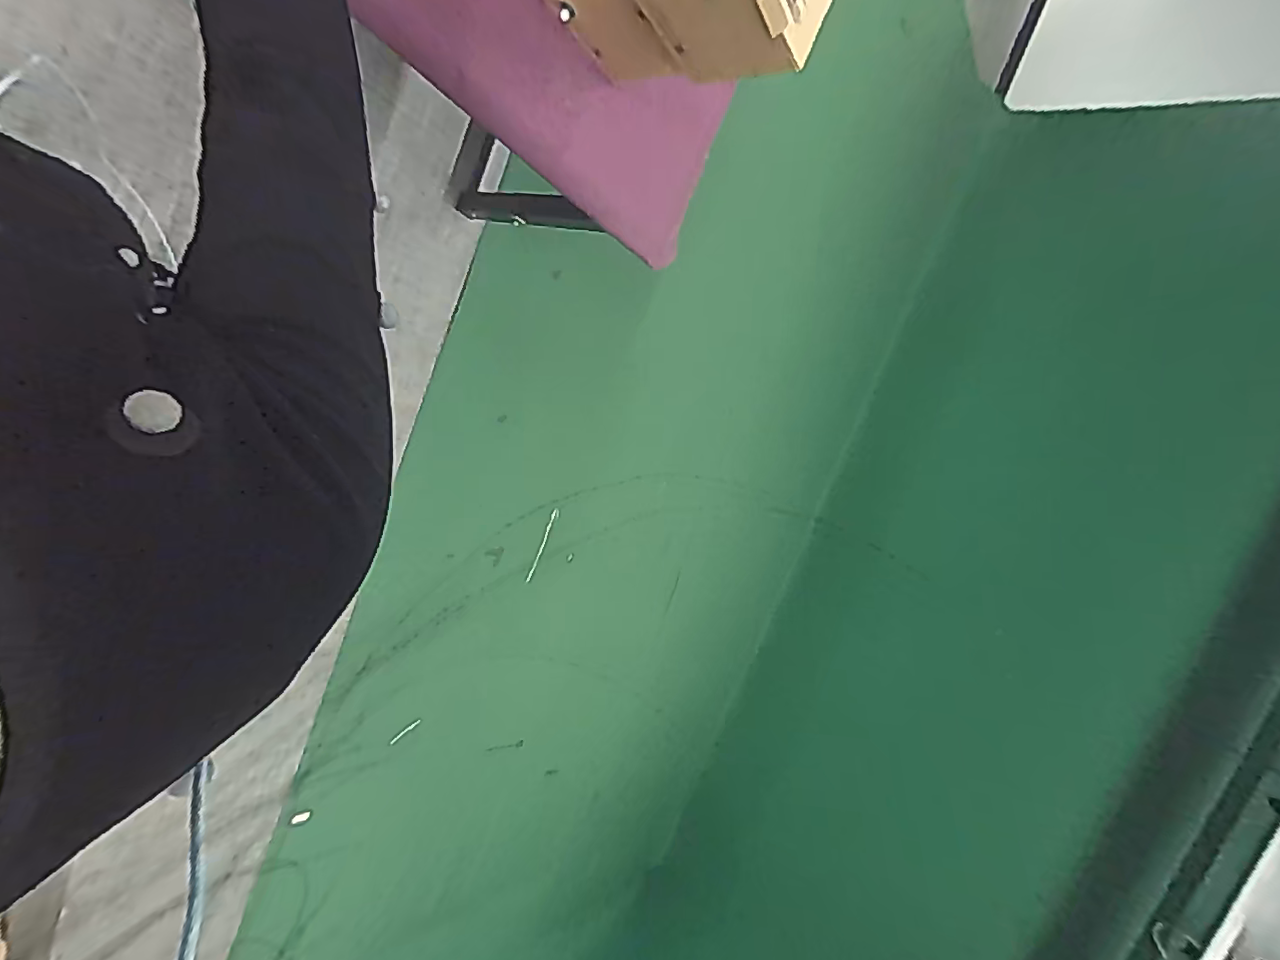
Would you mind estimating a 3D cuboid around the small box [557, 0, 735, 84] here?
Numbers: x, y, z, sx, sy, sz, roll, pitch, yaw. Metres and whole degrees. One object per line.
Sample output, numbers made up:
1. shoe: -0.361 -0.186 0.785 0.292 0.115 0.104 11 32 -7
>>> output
1. small box: 0.008 -0.666 0.716 0.168 0.176 0.179 22 94 -54
